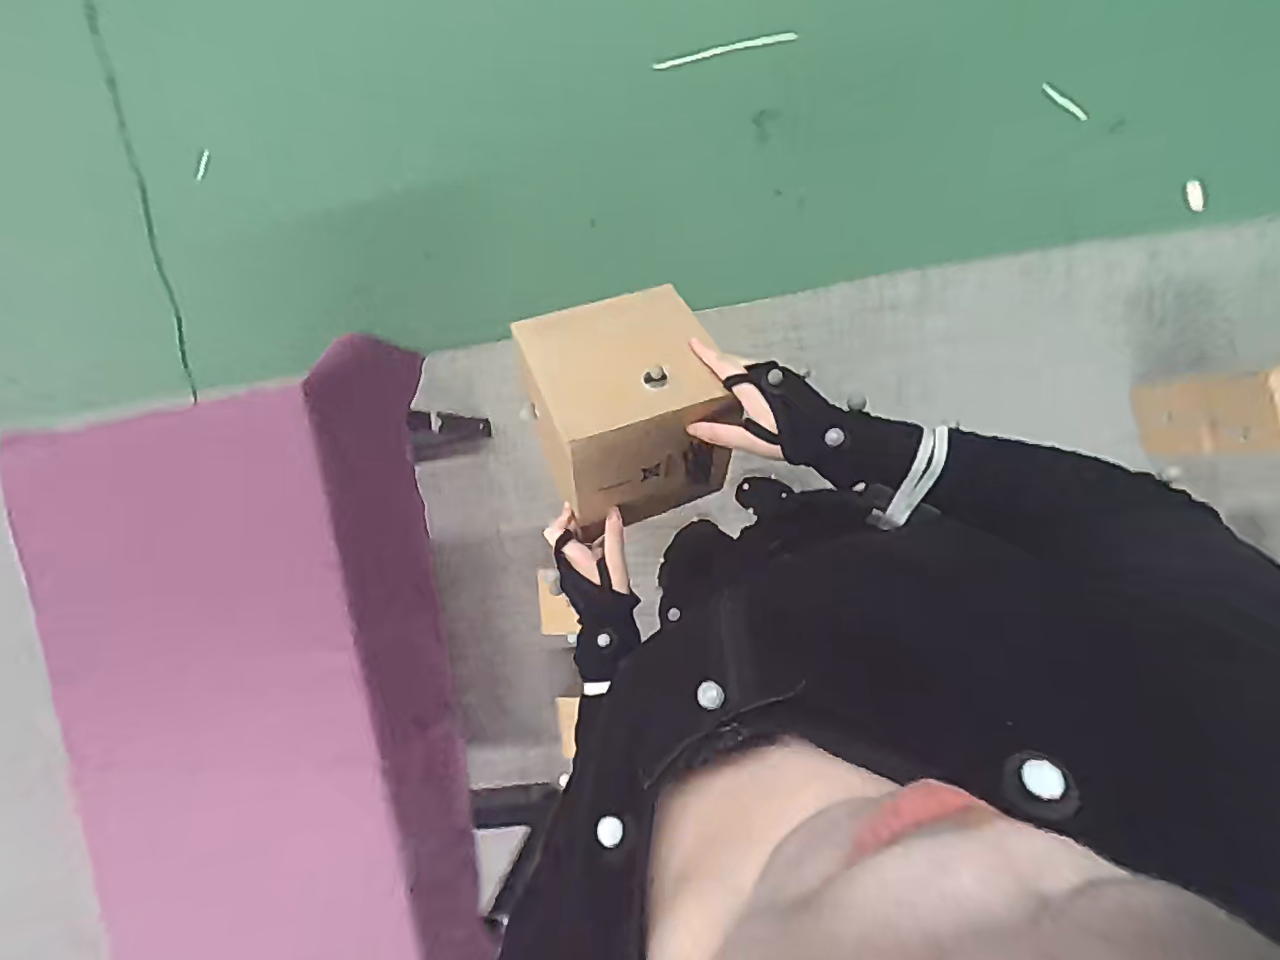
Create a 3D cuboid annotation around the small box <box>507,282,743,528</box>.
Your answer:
[{"bbox_3d":[-0.022,-0.082,0.566,0.179,0.168,0.176,-18,58,-15],"label":"small box"}]
